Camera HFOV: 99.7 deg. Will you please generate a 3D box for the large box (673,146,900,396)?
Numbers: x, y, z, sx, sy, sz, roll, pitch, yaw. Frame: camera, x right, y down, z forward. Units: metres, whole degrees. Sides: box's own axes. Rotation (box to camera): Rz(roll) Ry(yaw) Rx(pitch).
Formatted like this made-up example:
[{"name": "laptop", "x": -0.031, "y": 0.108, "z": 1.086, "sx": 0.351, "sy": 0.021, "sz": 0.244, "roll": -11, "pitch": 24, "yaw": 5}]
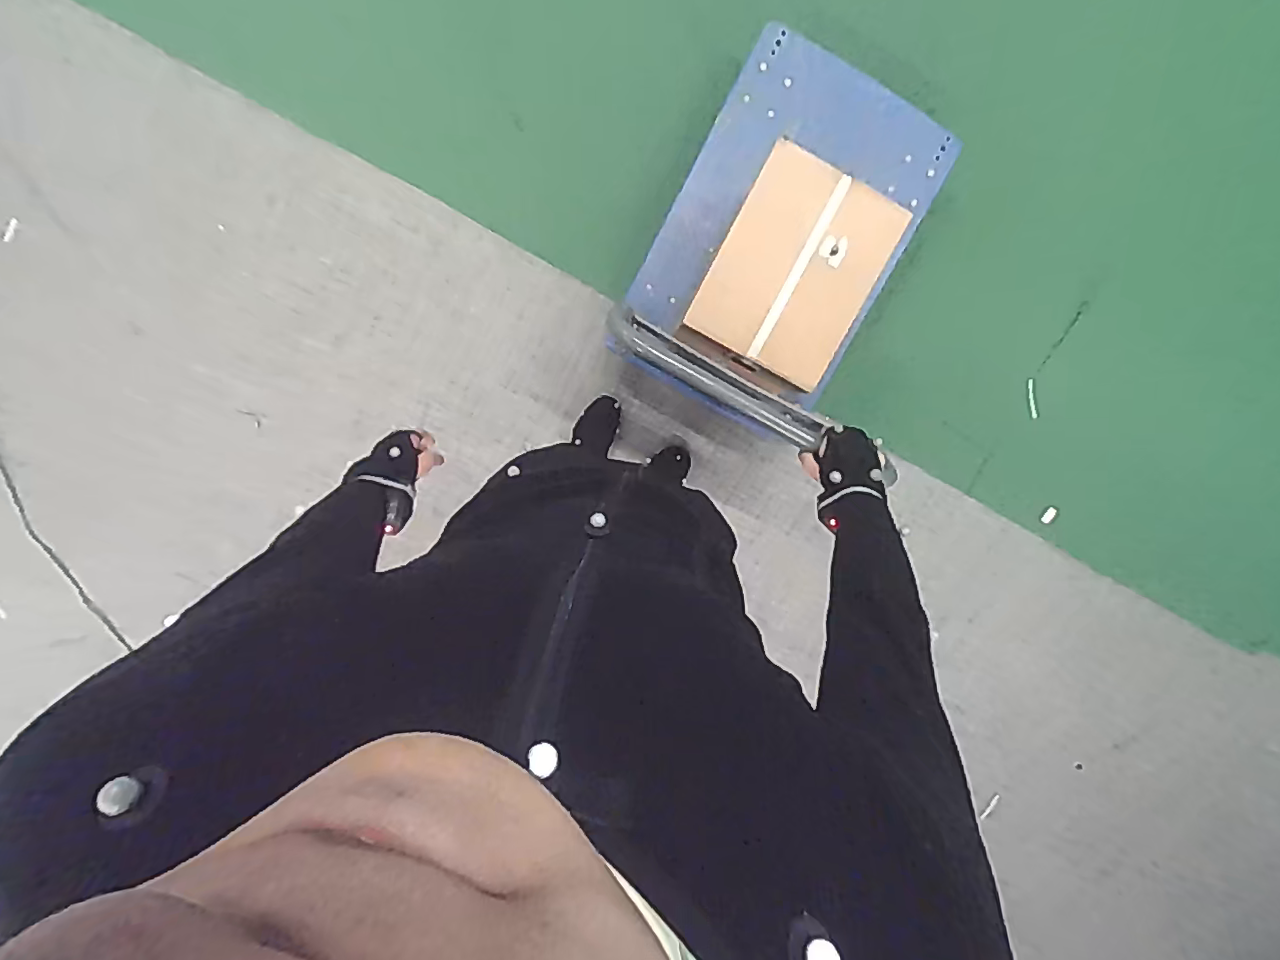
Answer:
[{"name": "large box", "x": 0.305, "y": -0.441, "z": 1.254, "sx": 0.320, "sy": 0.320, "sz": 0.408, "roll": 28, "pitch": 96, "yaw": -6}]
